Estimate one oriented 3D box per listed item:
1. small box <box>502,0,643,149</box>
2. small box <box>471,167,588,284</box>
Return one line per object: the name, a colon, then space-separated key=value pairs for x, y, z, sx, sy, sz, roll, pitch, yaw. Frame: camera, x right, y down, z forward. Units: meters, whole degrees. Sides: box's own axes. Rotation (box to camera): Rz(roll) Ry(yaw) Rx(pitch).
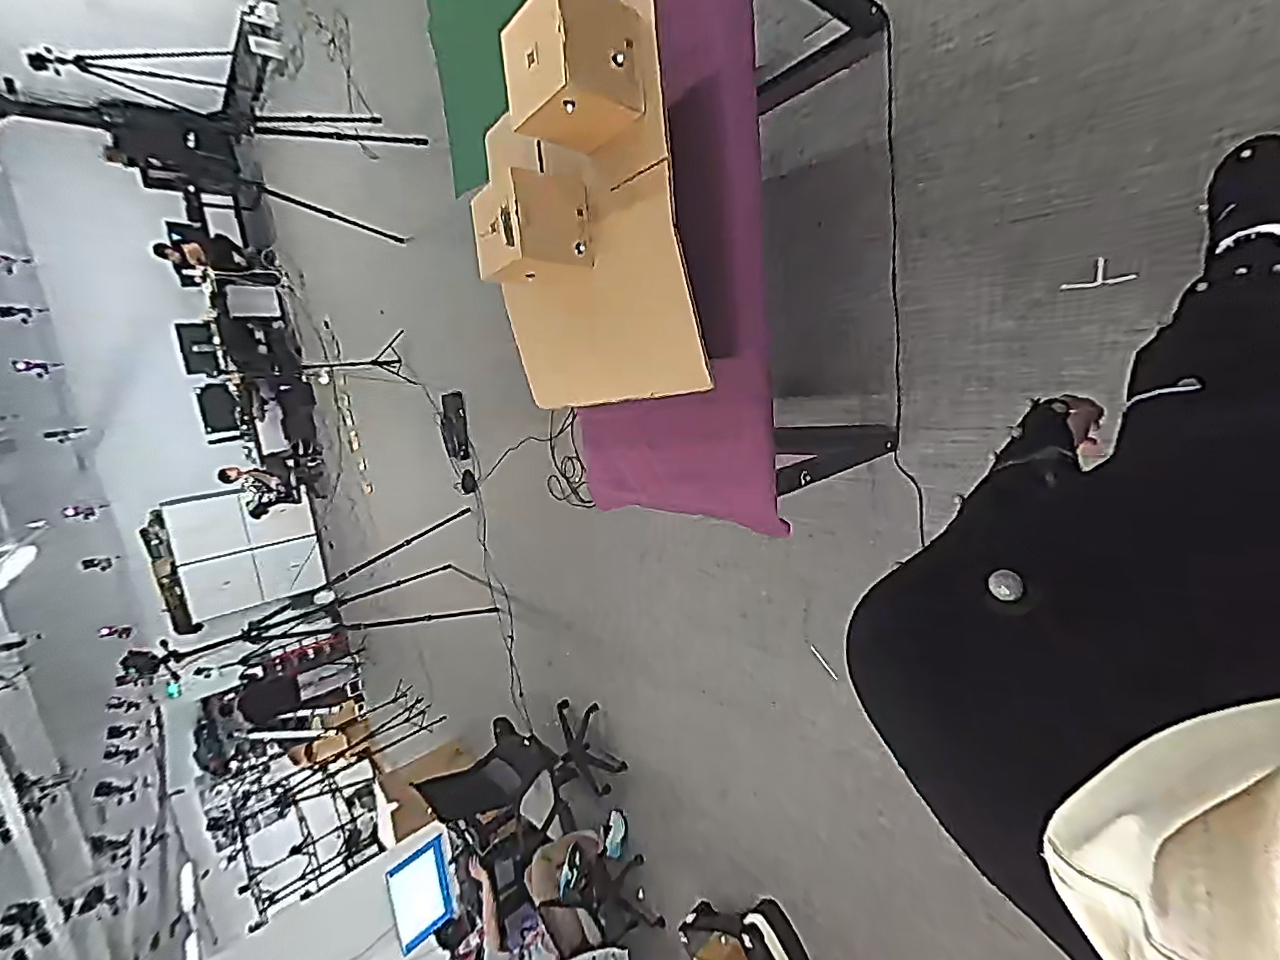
small box: x=-0.116 y=-0.709 z=0.937 sx=0.179 sy=0.176 sz=0.168 roll=2 pitch=101 yaw=47
small box: x=-0.218 y=-0.506 z=1.101 sx=0.179 sy=0.176 sz=0.168 roll=2 pitch=101 yaw=49
